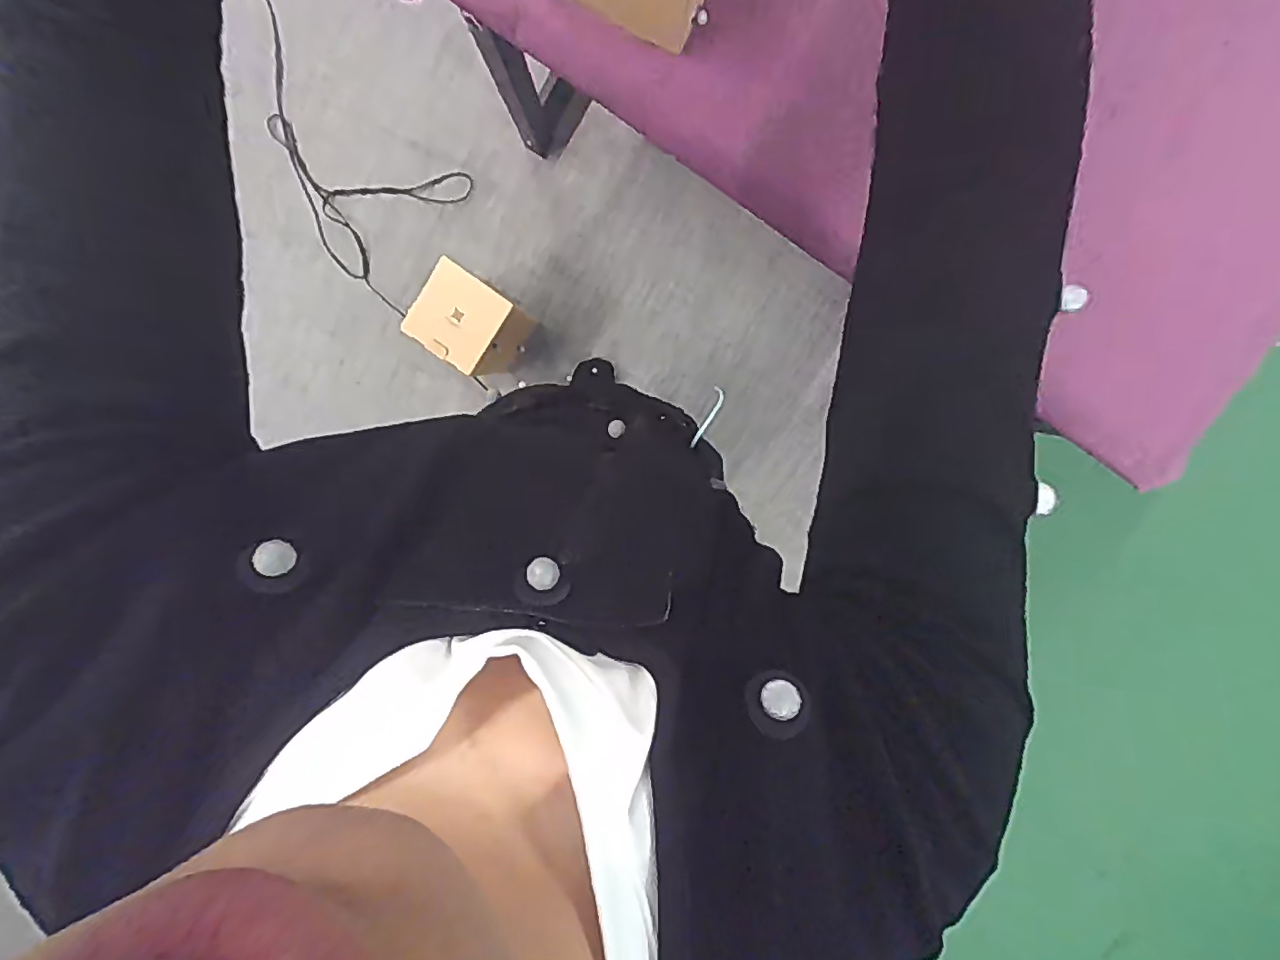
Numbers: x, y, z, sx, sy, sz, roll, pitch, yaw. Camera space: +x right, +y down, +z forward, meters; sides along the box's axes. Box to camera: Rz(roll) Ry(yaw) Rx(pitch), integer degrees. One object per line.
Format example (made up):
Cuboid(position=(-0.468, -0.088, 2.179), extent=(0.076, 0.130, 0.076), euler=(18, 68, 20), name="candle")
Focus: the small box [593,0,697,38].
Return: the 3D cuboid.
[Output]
Cuboid(position=(0.006, -0.594, 0.533), extent=(0.179, 0.176, 0.168), euler=(26, 99, -7), name="small box")
